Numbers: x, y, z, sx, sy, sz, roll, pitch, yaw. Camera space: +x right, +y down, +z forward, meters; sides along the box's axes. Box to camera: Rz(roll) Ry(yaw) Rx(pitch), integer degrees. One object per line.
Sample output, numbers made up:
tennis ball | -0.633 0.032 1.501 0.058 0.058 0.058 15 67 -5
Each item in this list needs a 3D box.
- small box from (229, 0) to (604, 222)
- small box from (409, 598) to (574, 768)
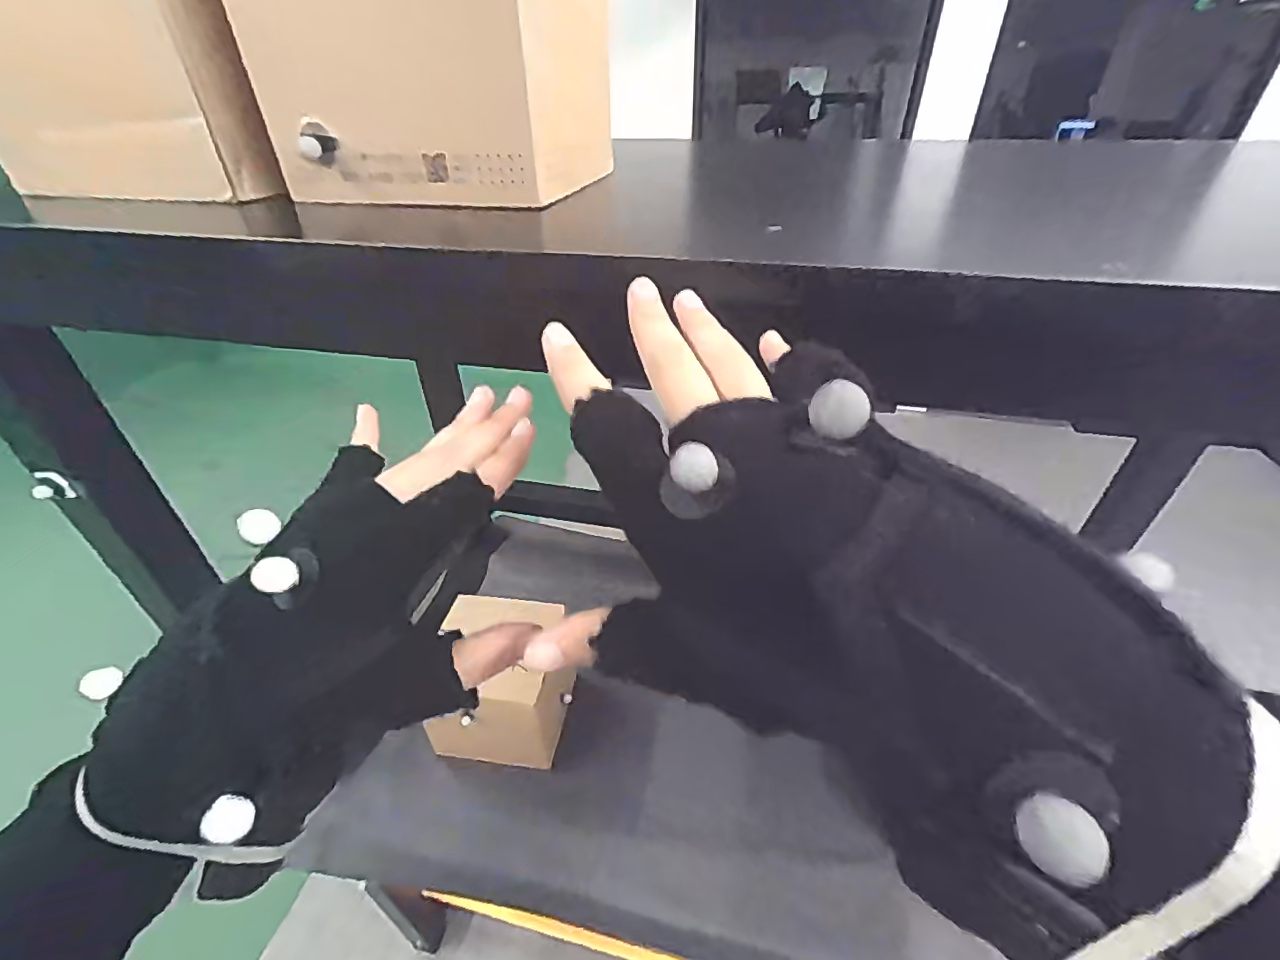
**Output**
small box | -0.122 -0.271 0.349 0.168 0.176 0.179 6 35 10
small box | -0.206 0.301 0.804 0.179 0.176 0.168 5 36 7
